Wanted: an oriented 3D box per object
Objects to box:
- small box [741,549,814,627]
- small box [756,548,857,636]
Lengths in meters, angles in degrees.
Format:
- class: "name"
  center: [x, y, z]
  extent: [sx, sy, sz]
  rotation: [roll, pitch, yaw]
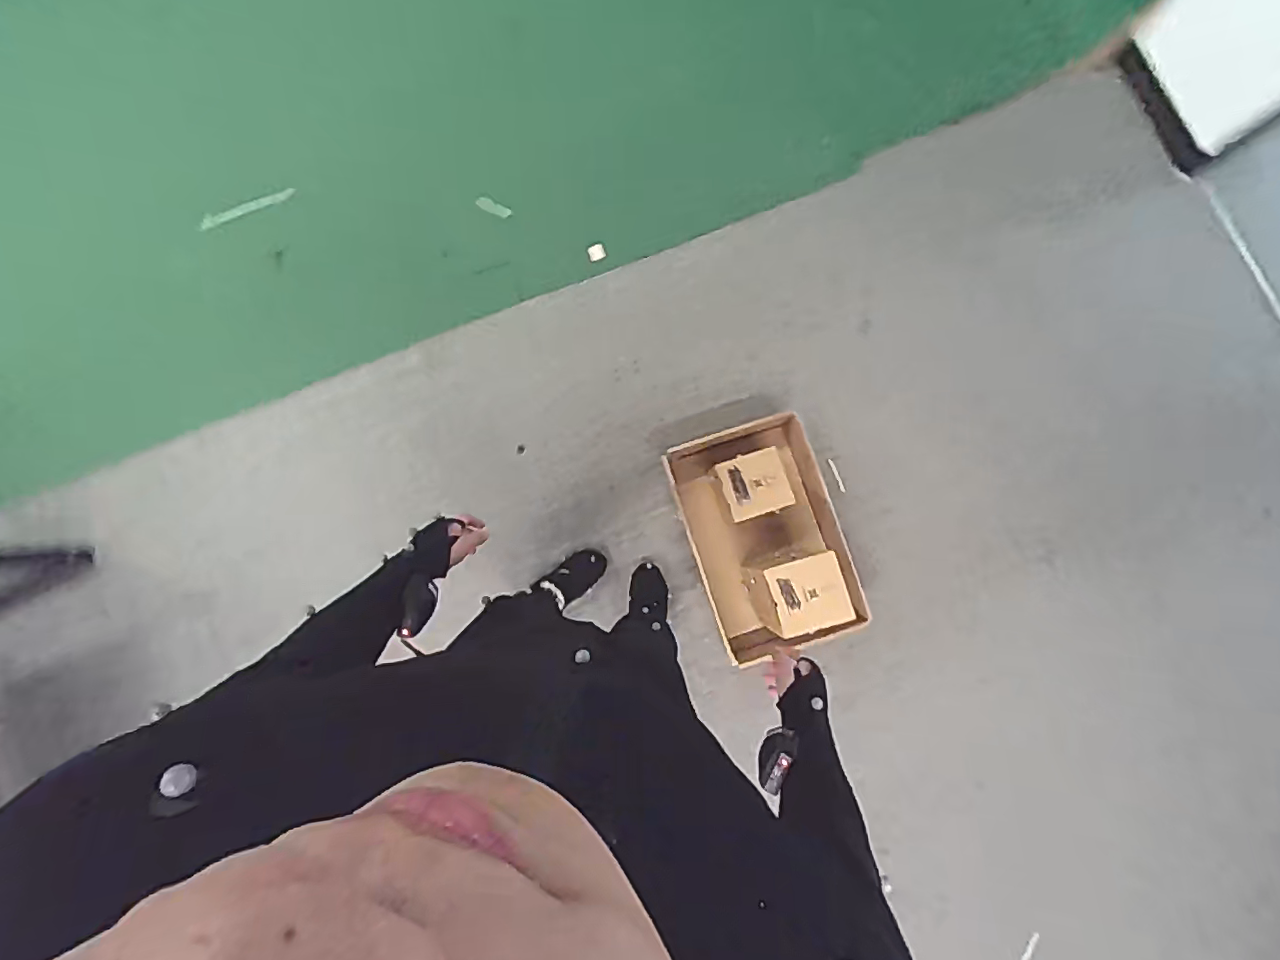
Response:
- class: "small box"
  center: [0.396, 0.288, 1.483]
  extent: [0.179, 0.176, 0.168]
  rotation: [-18, 83, -1]
- class: "small box"
  center: [0.393, 0.269, 1.320]
  extent: [0.179, 0.176, 0.168]
  rotation: [-15, 83, -2]
